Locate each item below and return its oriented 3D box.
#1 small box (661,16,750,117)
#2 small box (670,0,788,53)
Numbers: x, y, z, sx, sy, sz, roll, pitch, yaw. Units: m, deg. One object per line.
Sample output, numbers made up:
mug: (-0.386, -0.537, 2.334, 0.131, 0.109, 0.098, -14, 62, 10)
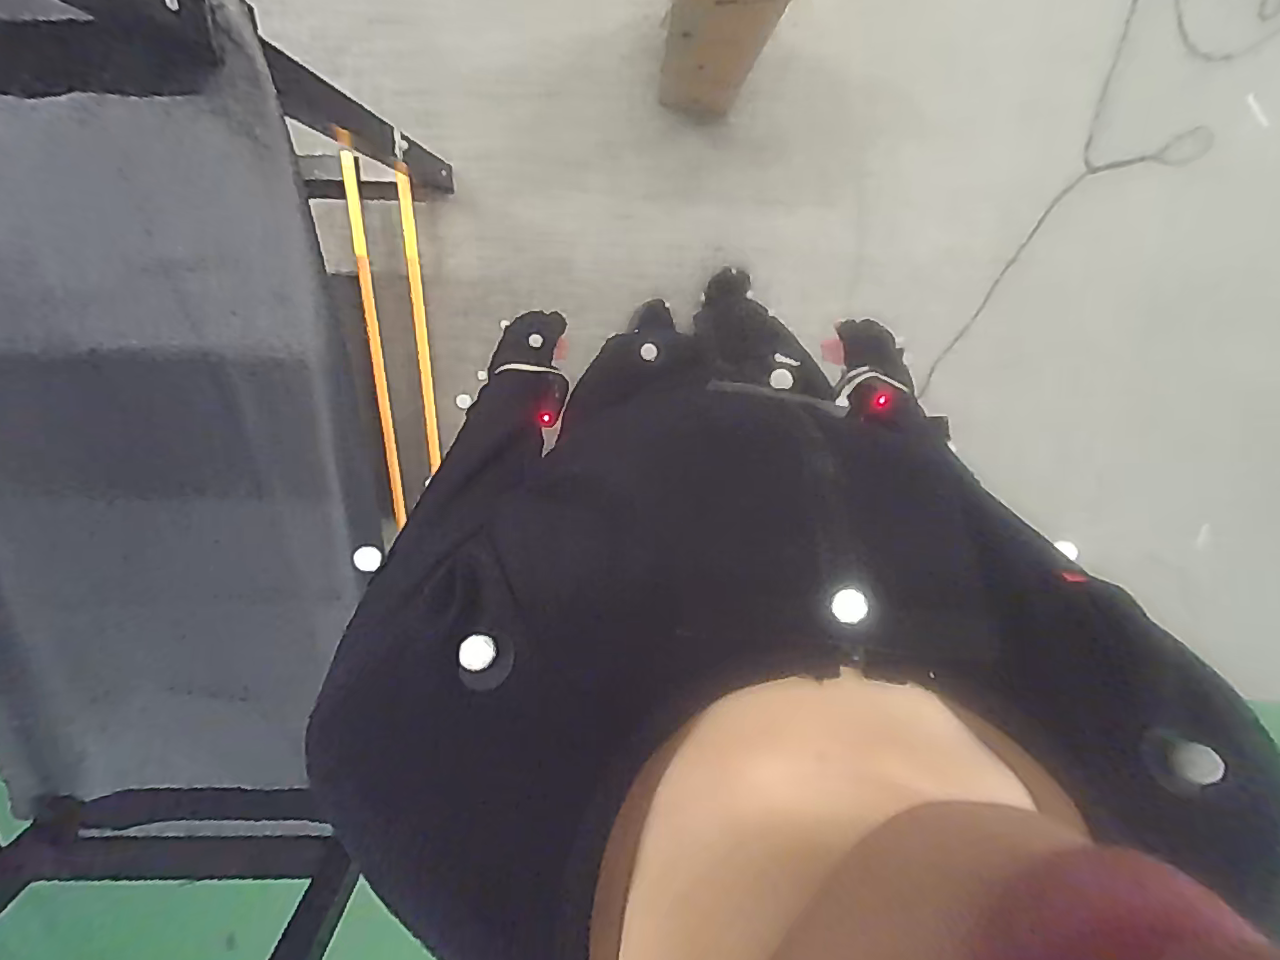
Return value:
small box: (0.135, -0.888, 1.119, 0.168, 0.176, 0.179, 7, 110, -2)
small box: (0.136, -0.780, 0.811, 0.168, 0.176, 0.179, 4, 109, -3)
